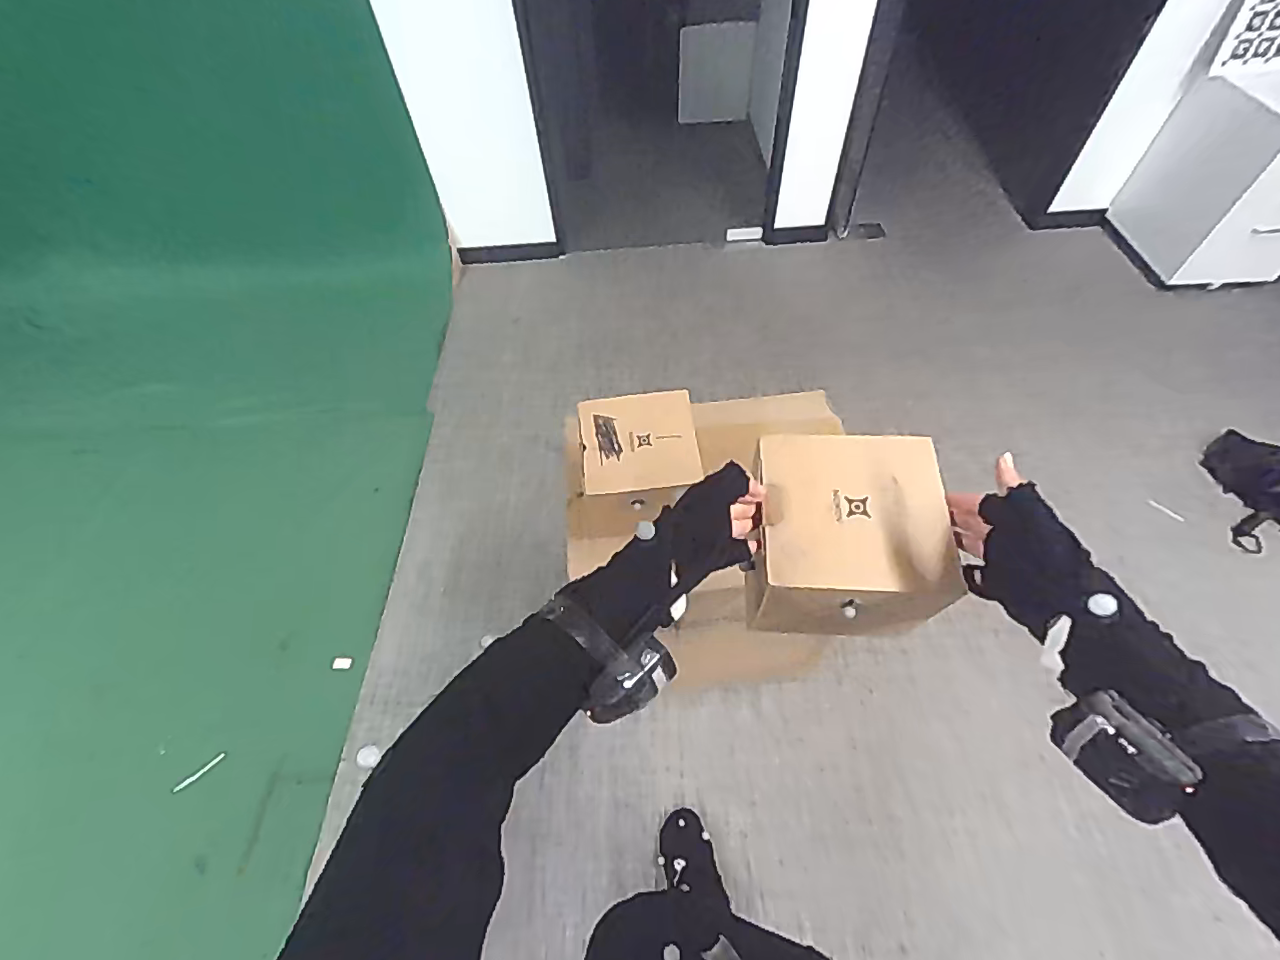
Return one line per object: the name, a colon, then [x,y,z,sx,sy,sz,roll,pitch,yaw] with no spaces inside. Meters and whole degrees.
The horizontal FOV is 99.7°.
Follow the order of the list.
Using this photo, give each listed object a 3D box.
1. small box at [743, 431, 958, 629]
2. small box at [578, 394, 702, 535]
small box: [0.207,0.061,0.595,0.179,0.176,0.168,2,61,4]
small box: [0.000,-0.019,0.884,0.179,0.176,0.168,-6,64,-2]
